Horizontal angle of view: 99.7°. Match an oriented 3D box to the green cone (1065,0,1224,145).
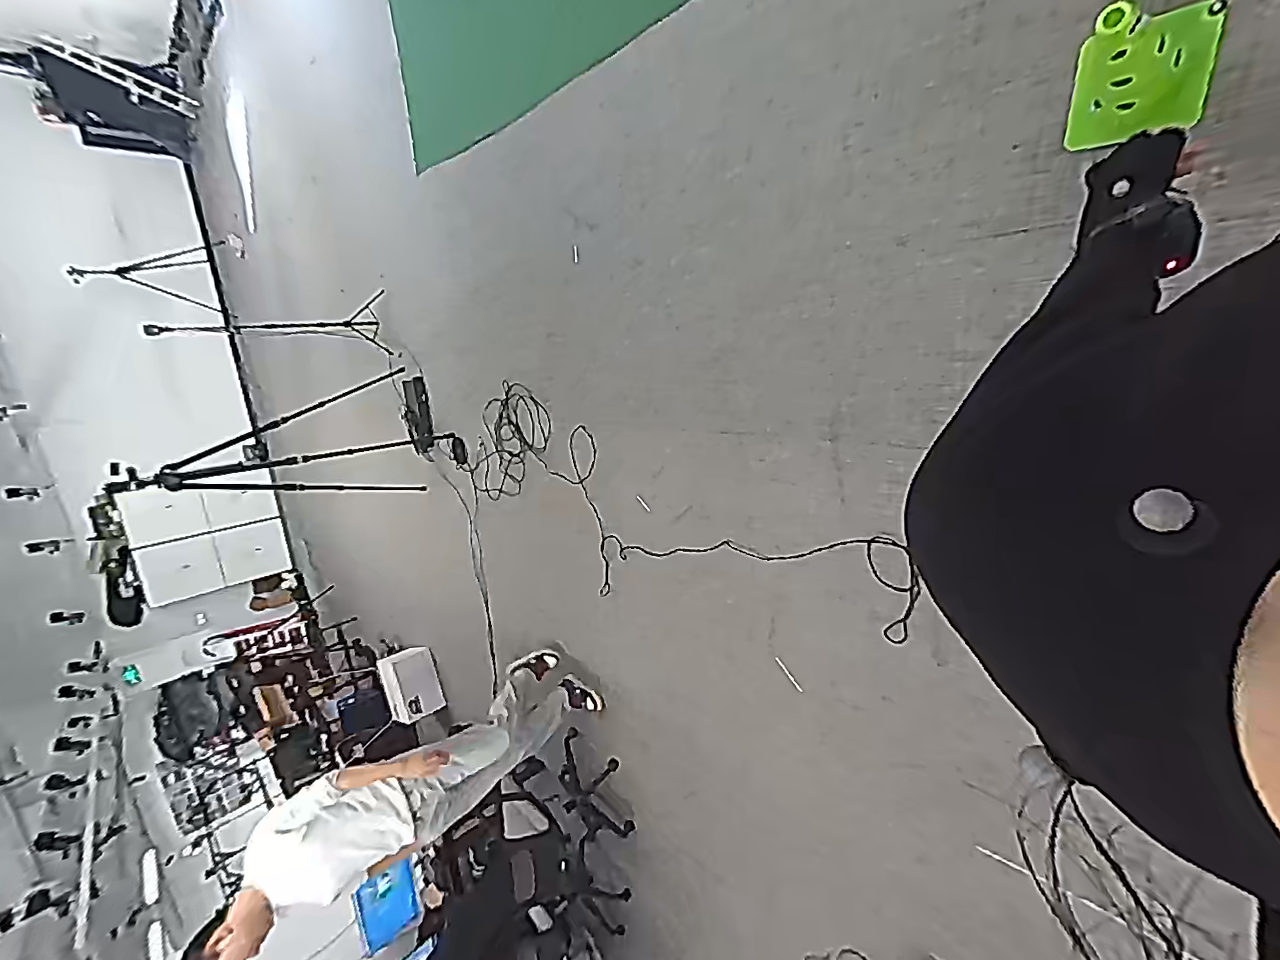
[{"bbox_3d":[0.815,-0.723,0.906,0.200,0.368,0.202,13,114,45],"label":"green cone"}]
